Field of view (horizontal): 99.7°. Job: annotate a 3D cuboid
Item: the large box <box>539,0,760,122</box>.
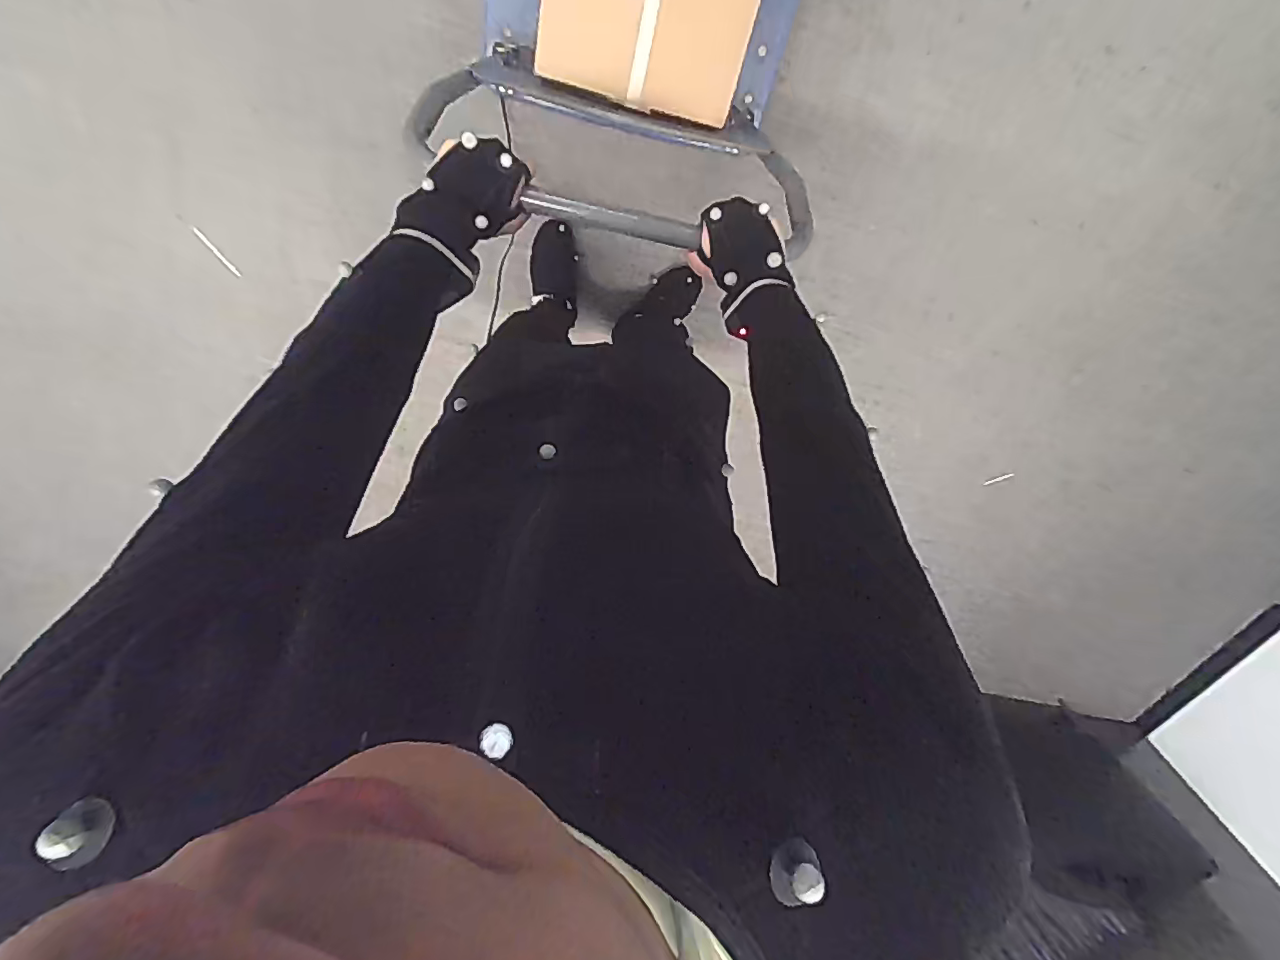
[{"bbox_3d":[0.034,-0.853,0.864,0.320,0.320,0.408,10,128,-9],"label":"large box"}]
